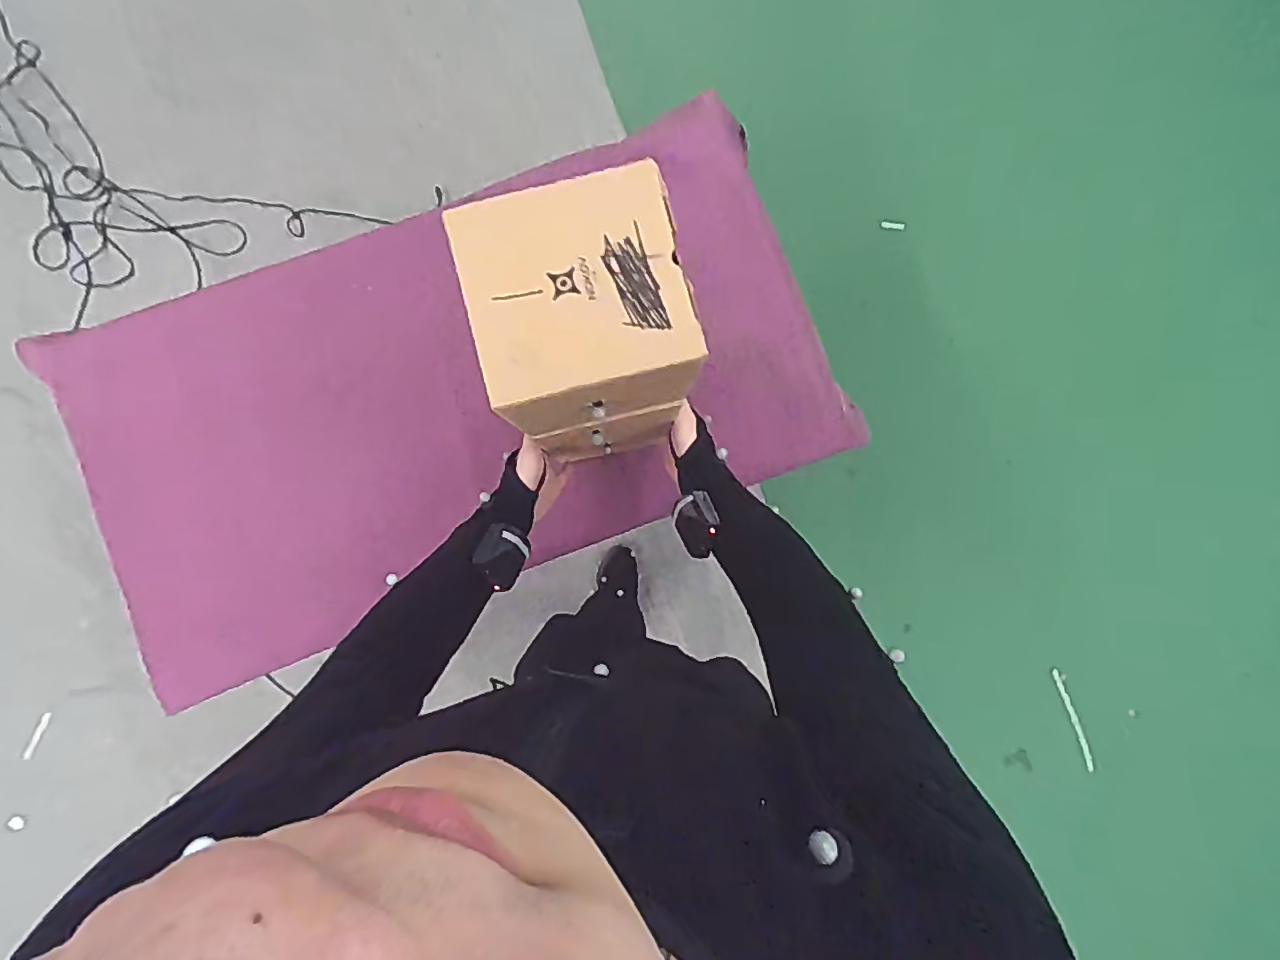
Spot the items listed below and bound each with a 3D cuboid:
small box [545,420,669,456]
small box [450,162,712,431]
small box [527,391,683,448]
[{"bbox_3d":[-0.058,-0.135,0.829,0.179,0.176,0.168,-10,88,-2],"label":"small box"},{"bbox_3d":[-0.048,-0.151,0.501,0.179,0.176,0.168,-15,88,-1],"label":"small box"},{"bbox_3d":[-0.053,-0.141,0.666,0.179,0.176,0.168,-14,89,-1],"label":"small box"}]
